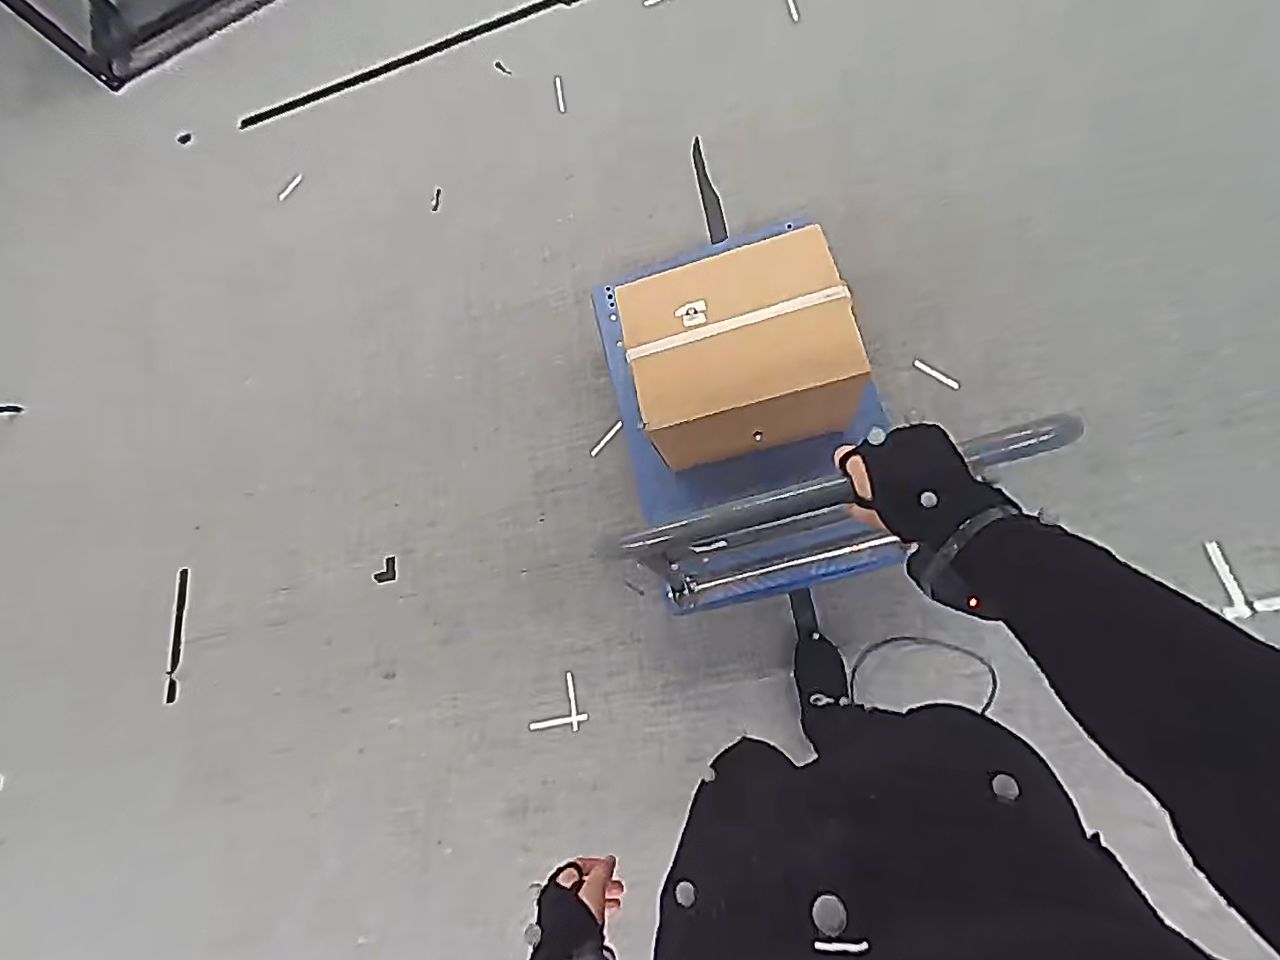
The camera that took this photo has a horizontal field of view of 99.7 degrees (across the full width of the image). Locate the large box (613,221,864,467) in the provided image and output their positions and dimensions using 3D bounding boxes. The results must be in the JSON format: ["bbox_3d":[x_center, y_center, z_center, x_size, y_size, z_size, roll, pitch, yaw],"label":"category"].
[{"bbox_3d":[0.199,-0.253,1.129,0.408,0.320,0.320,-15,72,10],"label":"large box"}]
